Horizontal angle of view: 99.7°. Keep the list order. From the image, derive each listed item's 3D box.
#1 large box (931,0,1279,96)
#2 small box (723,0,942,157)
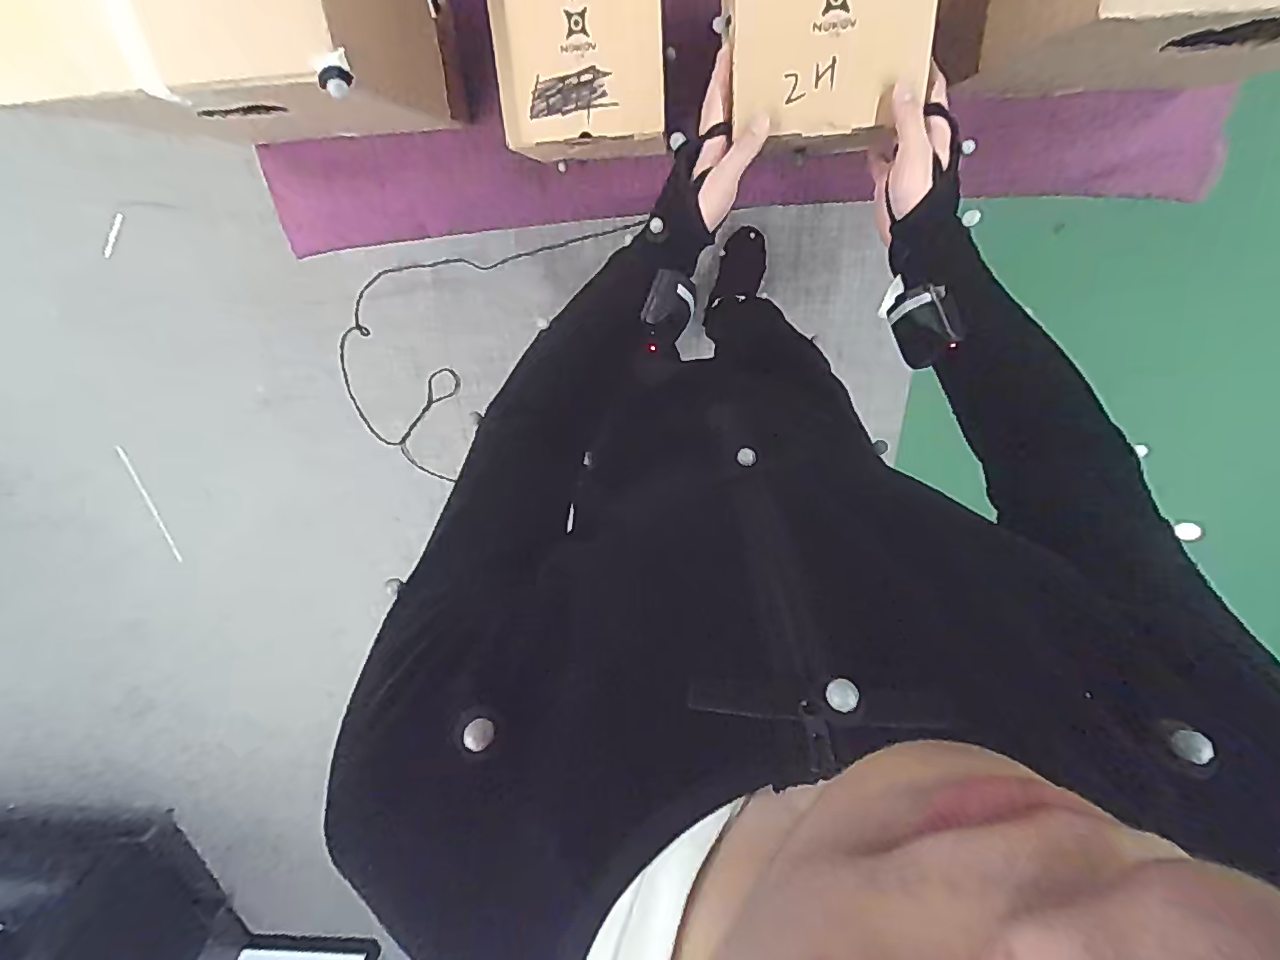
[{"bbox_3d":[0.476,-0.572,0.417,0.320,0.320,0.408,-1,117,5],"label":"large box"},{"bbox_3d":[0.168,-0.425,0.516,0.168,0.176,0.179,-2,115,5],"label":"small box"}]
